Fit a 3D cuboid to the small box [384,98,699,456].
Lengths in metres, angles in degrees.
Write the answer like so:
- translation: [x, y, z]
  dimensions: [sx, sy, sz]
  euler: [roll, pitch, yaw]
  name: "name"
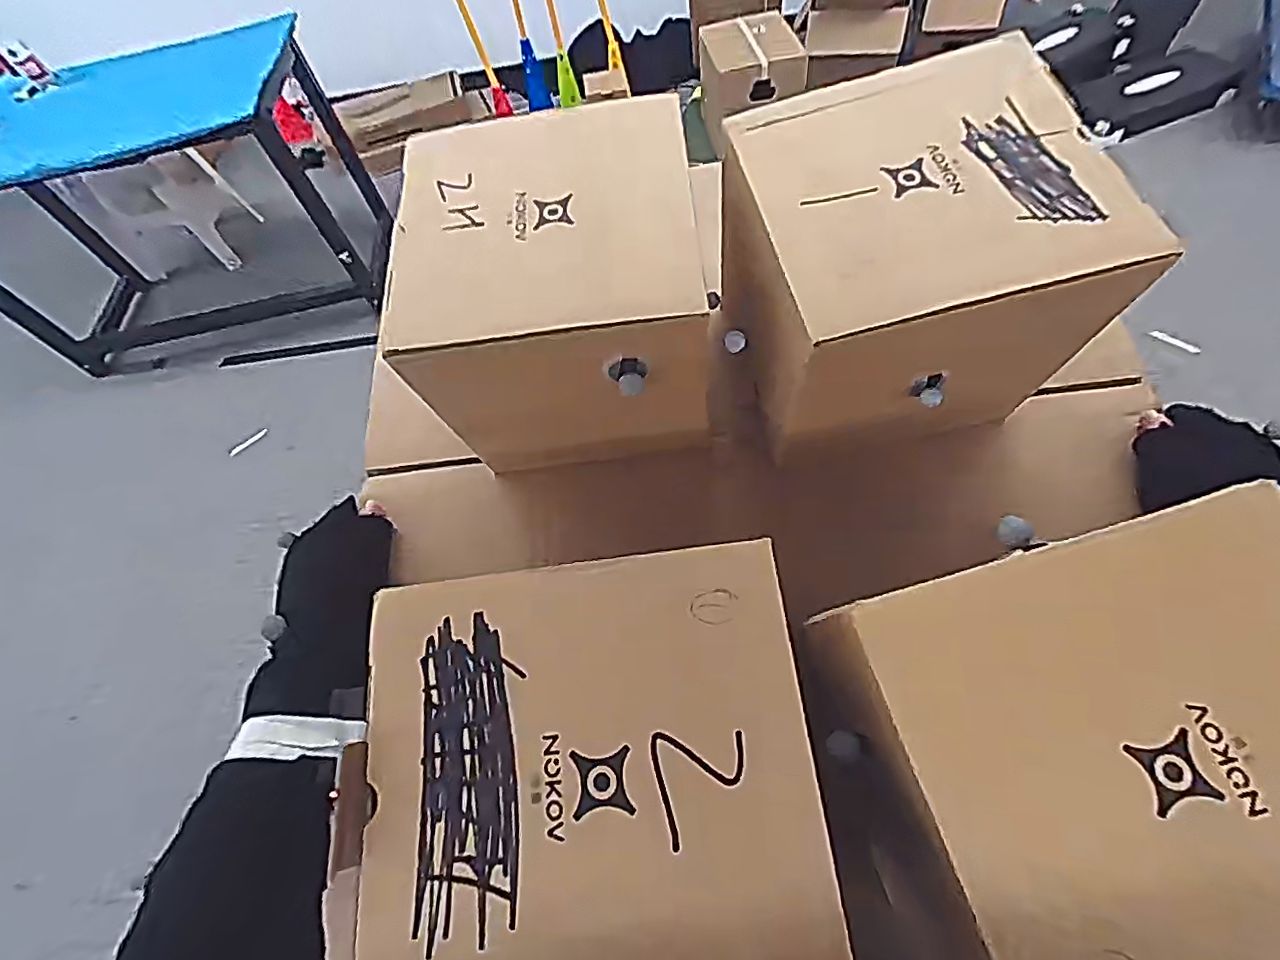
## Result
- translation: [-0.050, -0.128, 0.393]
  dimensions: [0.179, 0.176, 0.168]
  euler: [-5, 68, 6]
  name: "small box"
